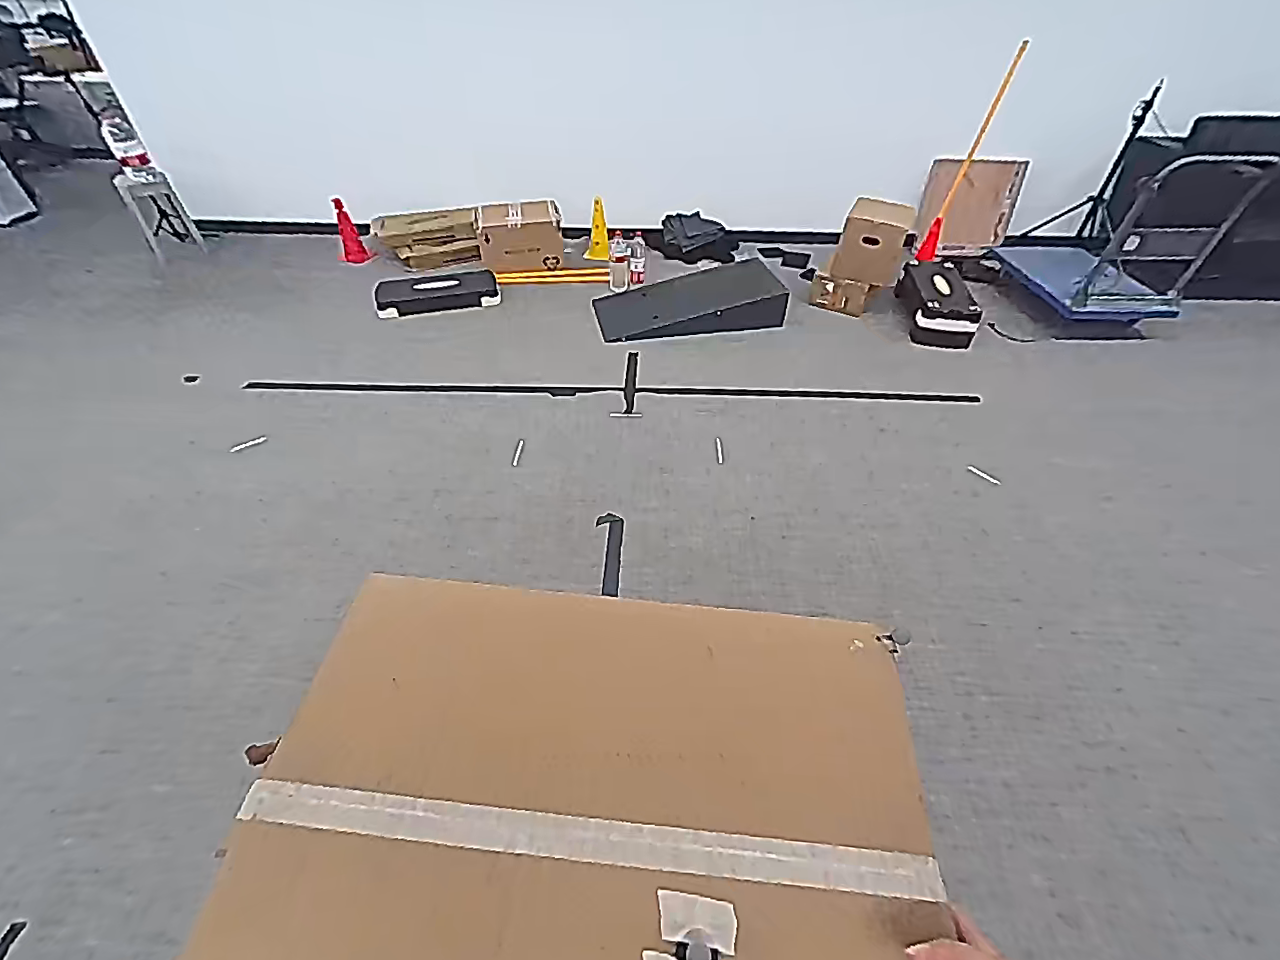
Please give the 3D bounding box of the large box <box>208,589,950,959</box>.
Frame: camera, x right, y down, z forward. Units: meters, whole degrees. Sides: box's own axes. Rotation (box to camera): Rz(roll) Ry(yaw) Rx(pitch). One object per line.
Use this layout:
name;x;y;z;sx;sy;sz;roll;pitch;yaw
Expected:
large box;-0.030;0.314;0.438;0.408;0.320;0.320;5;51;2
